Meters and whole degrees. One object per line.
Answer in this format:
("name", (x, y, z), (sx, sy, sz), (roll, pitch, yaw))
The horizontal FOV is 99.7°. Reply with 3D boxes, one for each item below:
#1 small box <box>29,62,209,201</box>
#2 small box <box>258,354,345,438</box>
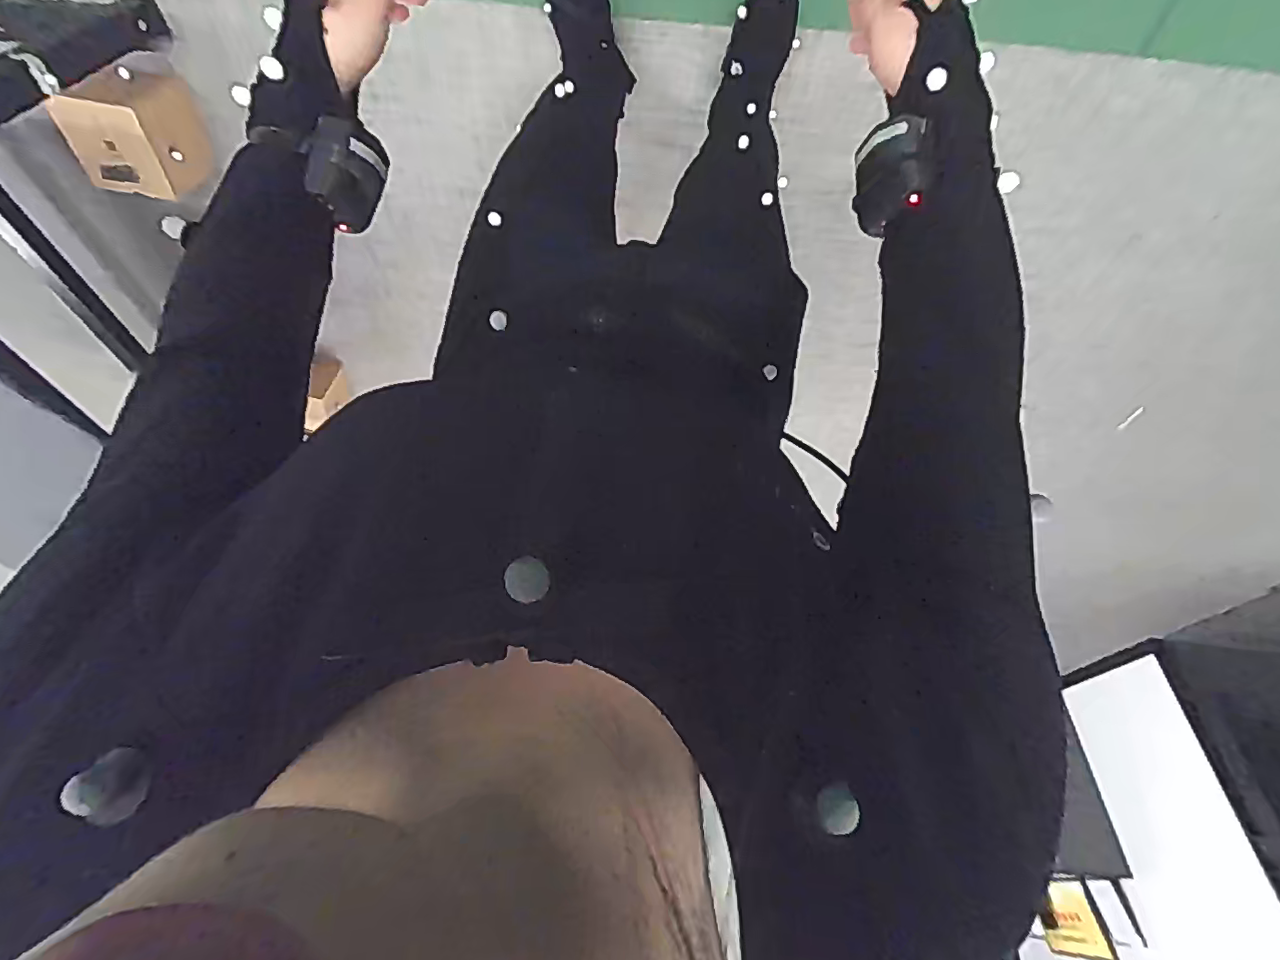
("small box", (-1.035, -0.706, 1.099), (0.168, 0.176, 0.179), (7, 143, -6))
("small box", (-1.057, -0.265, 1.708), (0.168, 0.176, 0.179), (11, 144, -11))
